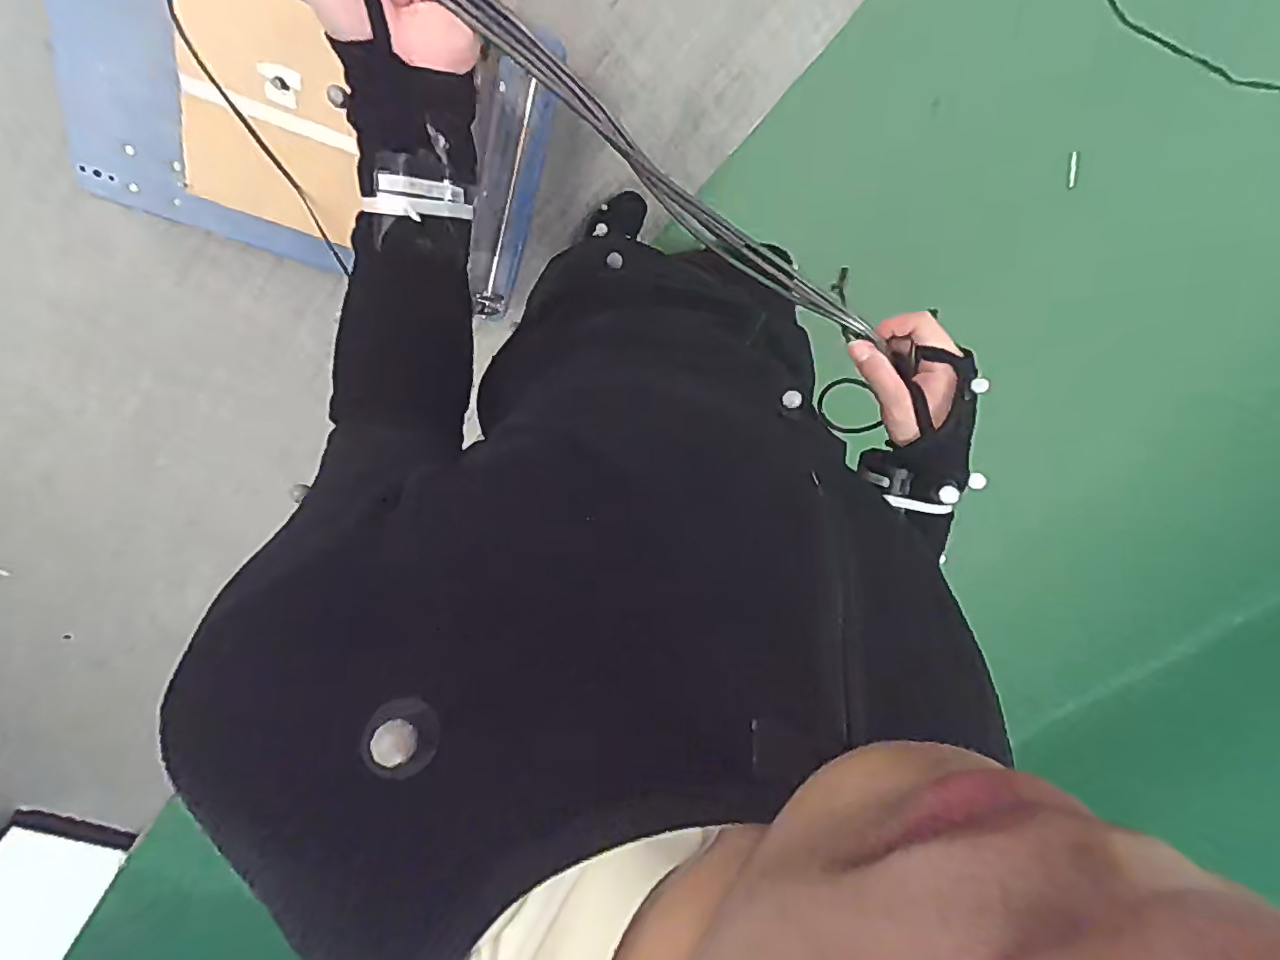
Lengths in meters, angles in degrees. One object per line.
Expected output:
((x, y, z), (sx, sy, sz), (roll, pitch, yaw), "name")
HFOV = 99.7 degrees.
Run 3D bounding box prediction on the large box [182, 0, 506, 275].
((-0.483, -0.609, 0.958), (0.408, 0.320, 0.320), (15, 119, -14), "large box")
